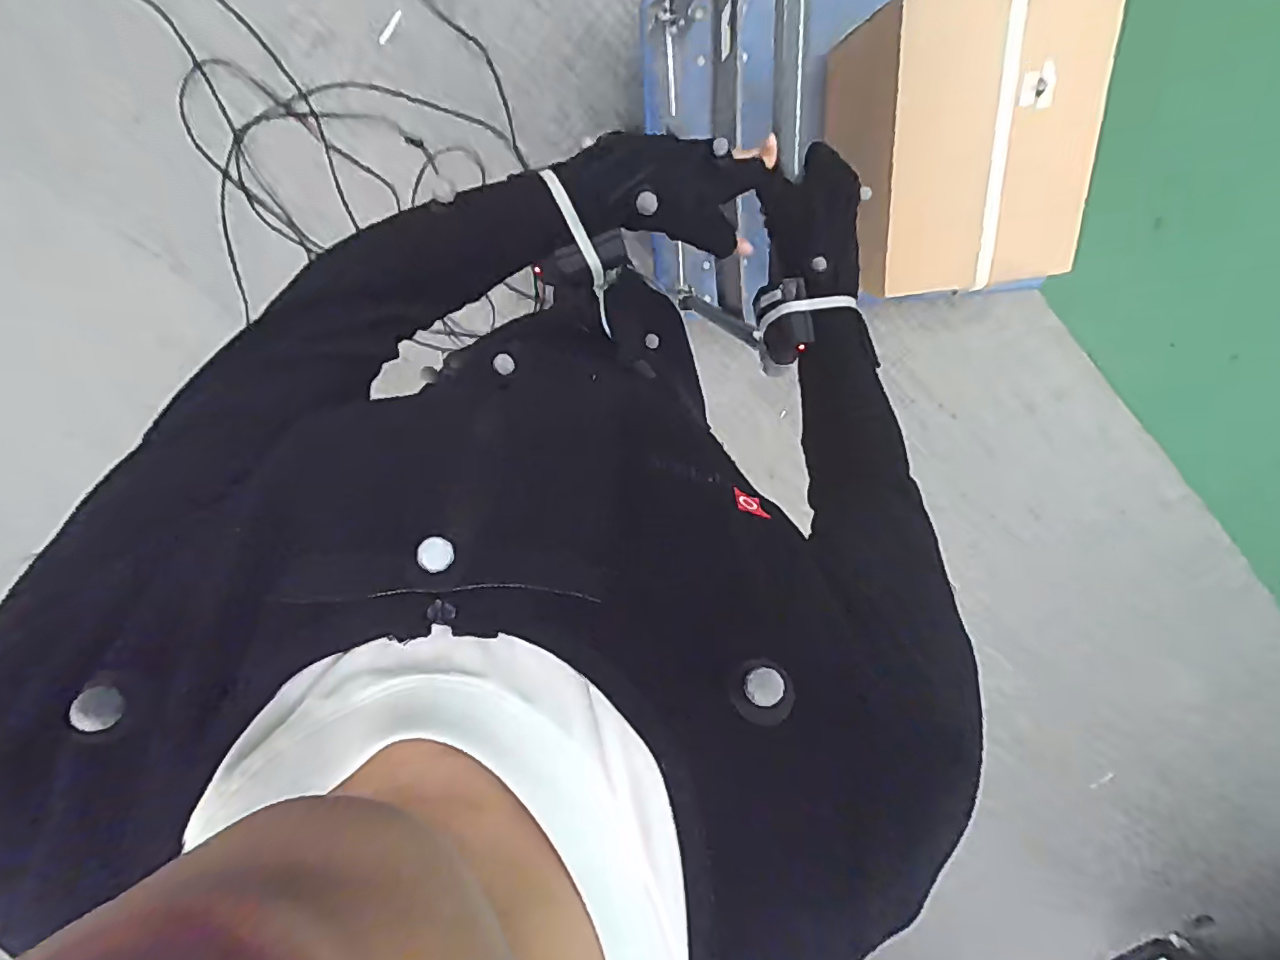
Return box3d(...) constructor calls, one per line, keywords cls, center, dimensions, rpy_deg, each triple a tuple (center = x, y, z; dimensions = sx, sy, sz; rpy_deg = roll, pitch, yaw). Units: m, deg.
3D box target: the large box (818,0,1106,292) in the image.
box3d(cls="large box", center=(0.517, -0.574, 0.957), dimensions=(0.320, 0.320, 0.408), rpy_deg=(-8, 114, -1))
